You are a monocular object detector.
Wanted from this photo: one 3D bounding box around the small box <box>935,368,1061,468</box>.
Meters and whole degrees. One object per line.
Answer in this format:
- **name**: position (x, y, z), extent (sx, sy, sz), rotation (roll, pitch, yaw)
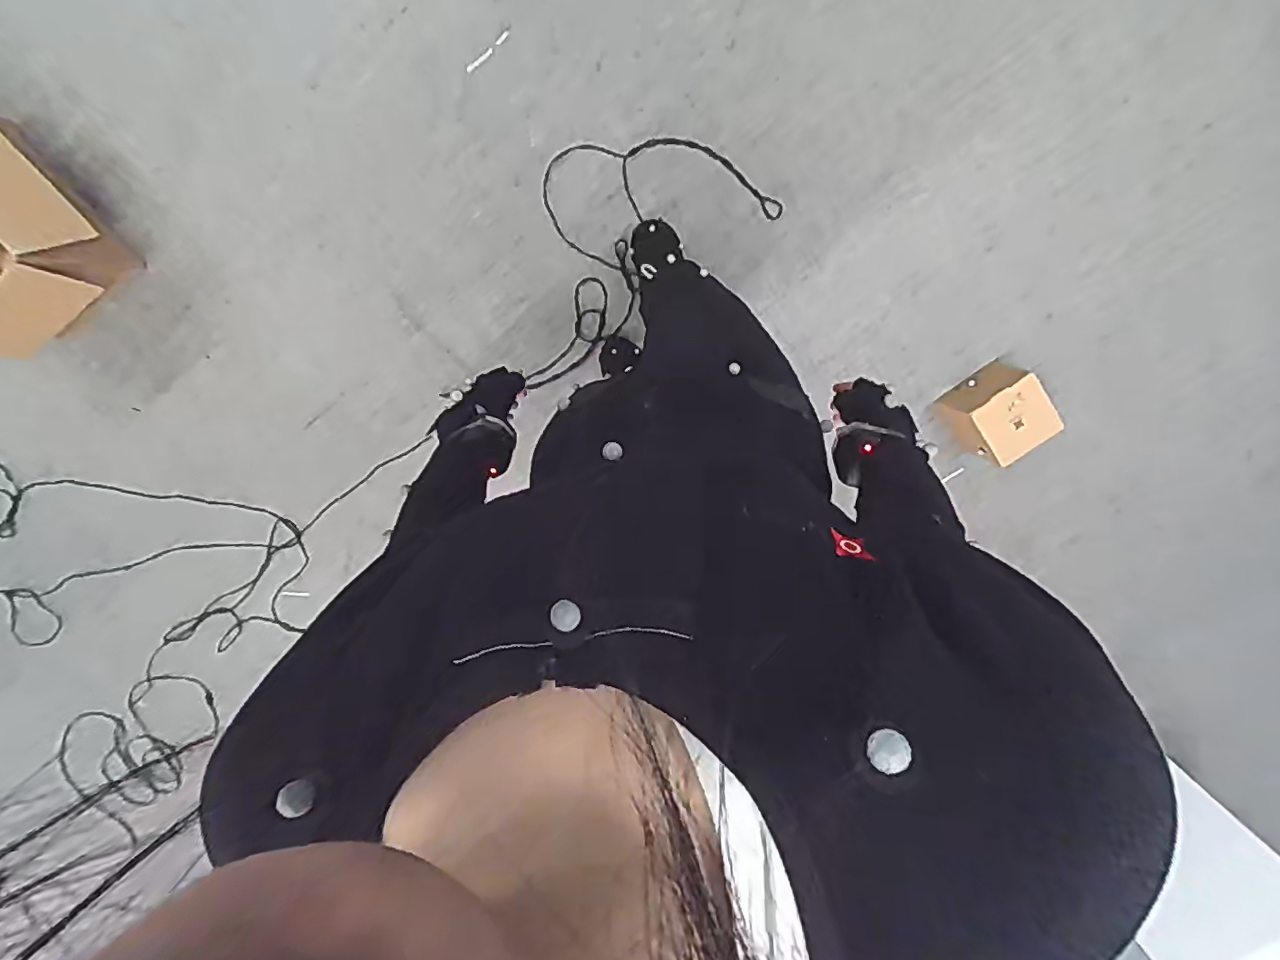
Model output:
- **small box**: position (0.892, -0.163, 1.362), extent (0.168, 0.176, 0.179), rotation (-37, 104, 12)
